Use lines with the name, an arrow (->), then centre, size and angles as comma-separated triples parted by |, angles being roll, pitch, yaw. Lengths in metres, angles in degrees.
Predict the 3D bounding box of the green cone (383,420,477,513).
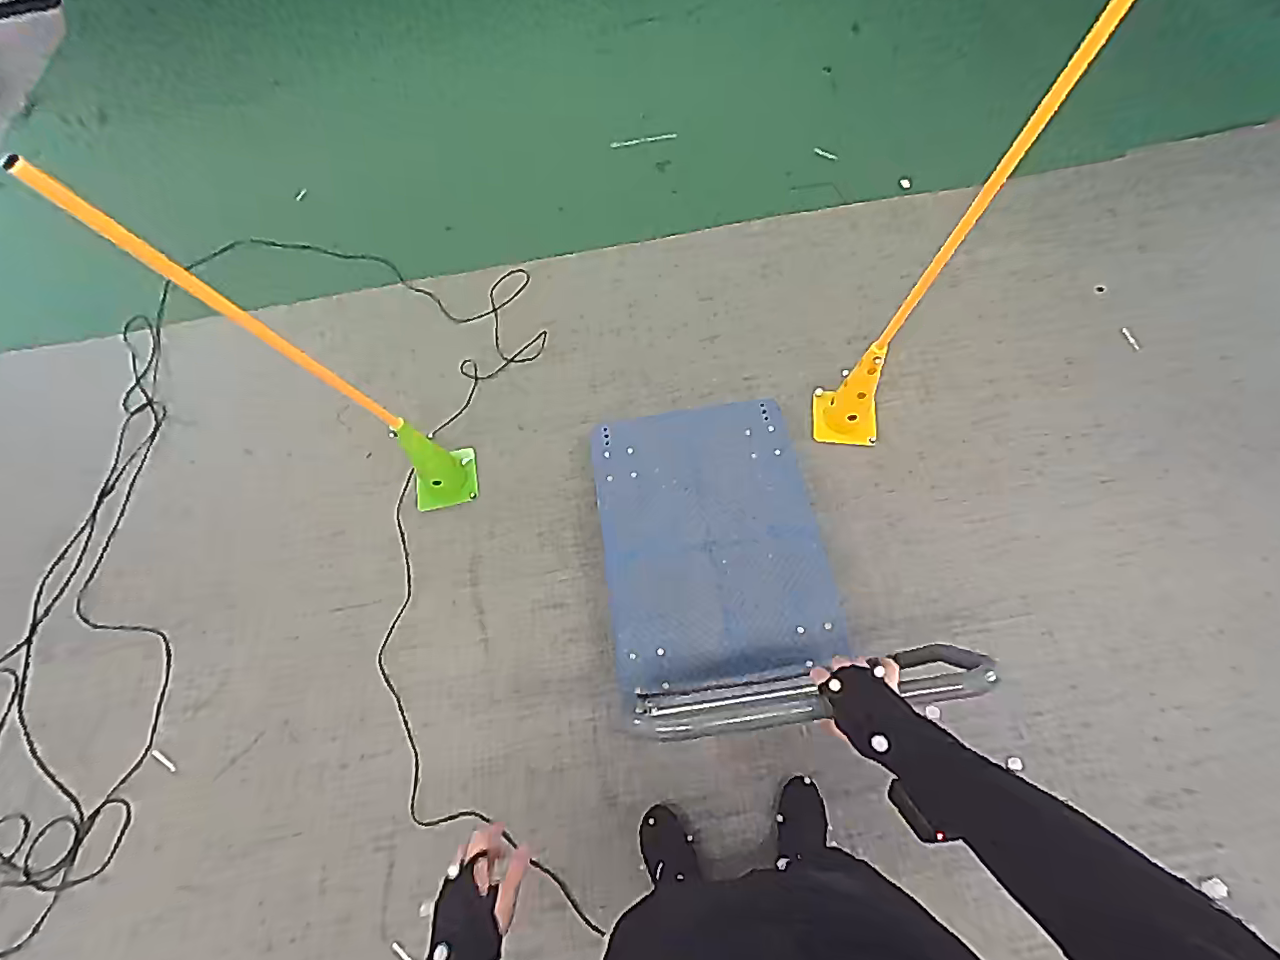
green cone -> -0.662, -0.075, 1.637 | 0.202, 0.368, 0.200 | -14, 63, 0
